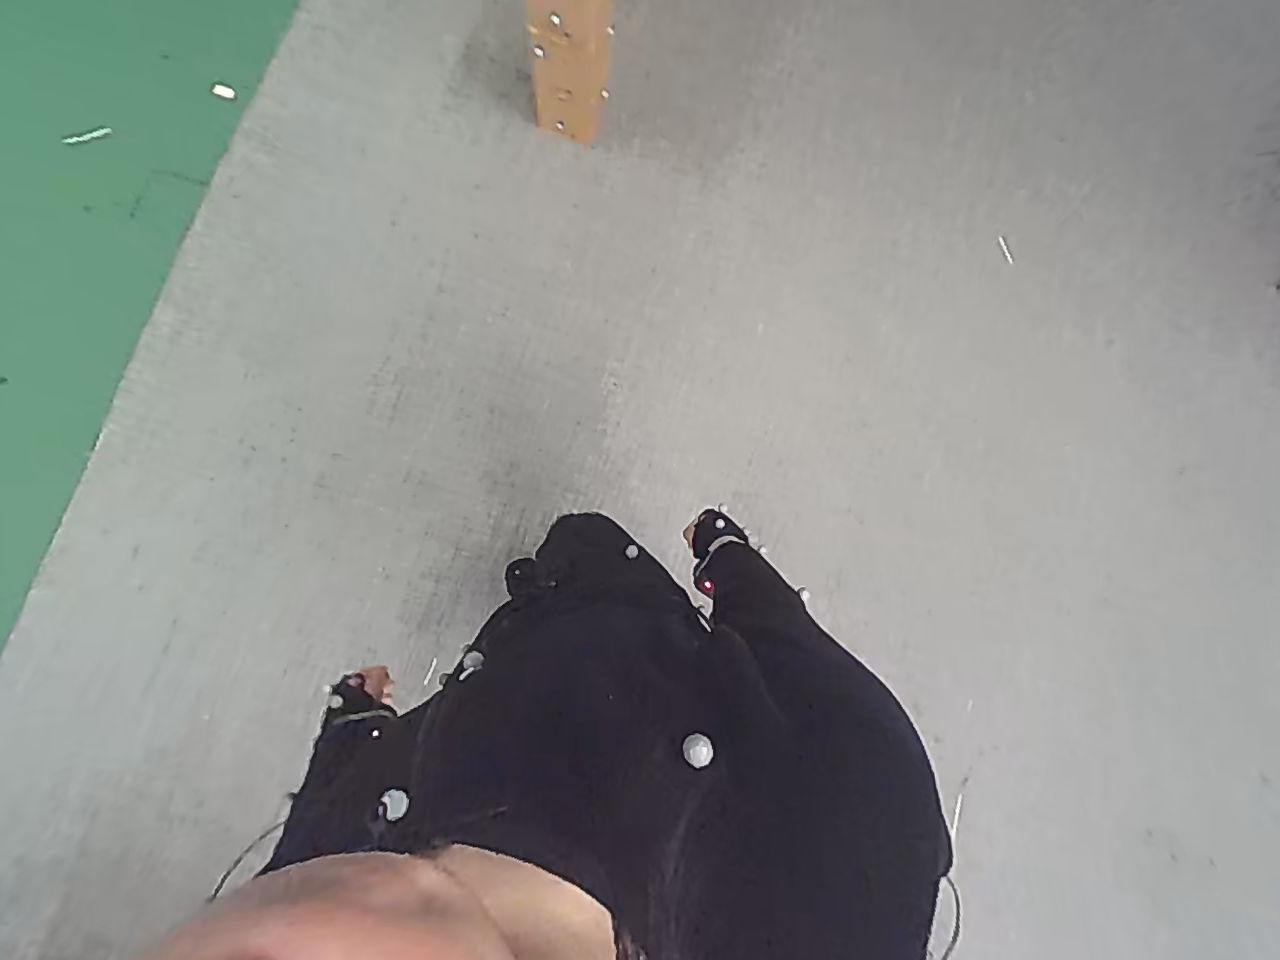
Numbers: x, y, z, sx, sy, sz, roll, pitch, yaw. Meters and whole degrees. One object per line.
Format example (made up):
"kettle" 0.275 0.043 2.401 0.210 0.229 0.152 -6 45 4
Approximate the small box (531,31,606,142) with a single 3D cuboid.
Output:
"small box" -0.204 -1.125 1.551 0.168 0.176 0.179 17 83 -5
